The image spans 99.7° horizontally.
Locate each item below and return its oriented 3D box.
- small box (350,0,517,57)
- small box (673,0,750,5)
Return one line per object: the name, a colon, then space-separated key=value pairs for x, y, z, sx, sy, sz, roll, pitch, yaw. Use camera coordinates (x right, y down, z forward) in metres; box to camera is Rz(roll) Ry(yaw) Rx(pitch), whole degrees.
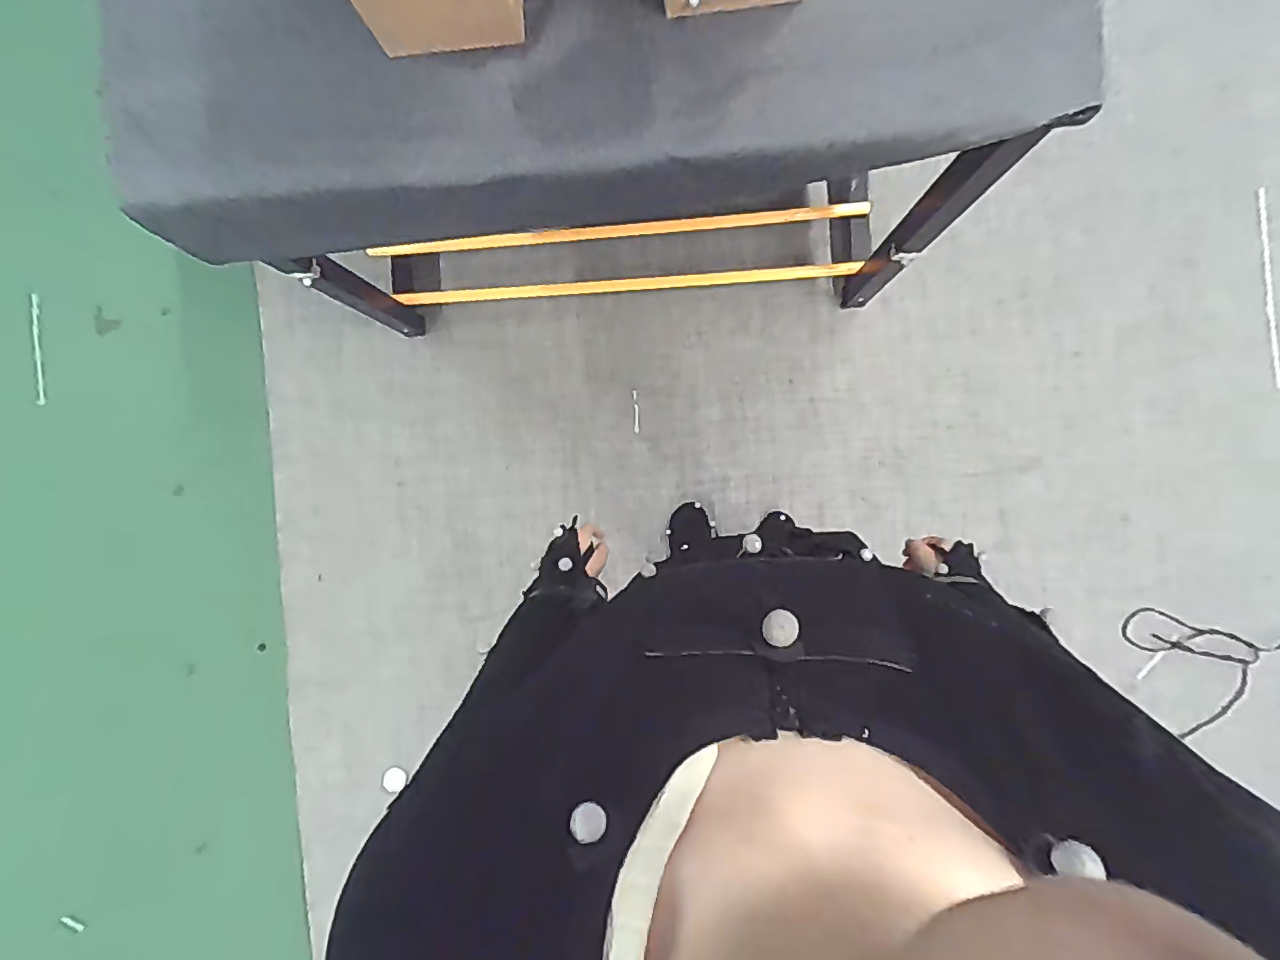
small box: x=-0.239 y=-0.609 z=0.588 sx=0.179 sy=0.176 sz=0.168 roll=-4 pitch=88 yaw=4
small box: x=0.096 y=-0.647 z=0.565 sx=0.168 sy=0.176 sz=0.179 roll=-5 pitch=89 yaw=4
